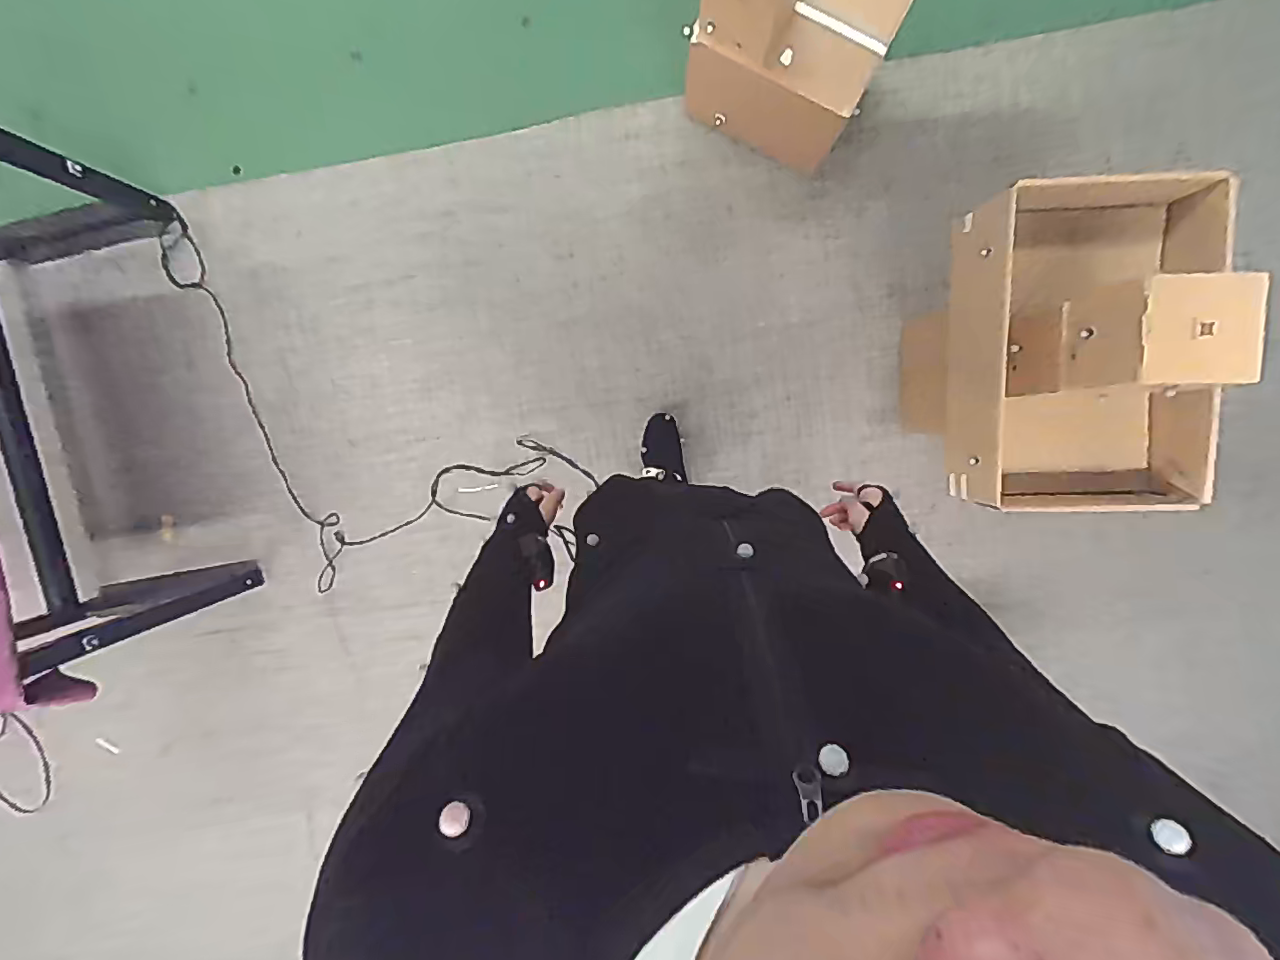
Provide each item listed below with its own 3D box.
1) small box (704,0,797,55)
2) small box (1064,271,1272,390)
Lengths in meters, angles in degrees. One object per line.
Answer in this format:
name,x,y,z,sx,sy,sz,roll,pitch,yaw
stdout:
small box,0.242,-1.028,1.099,0.168,0.176,0.179,30,97,-2
small box,0.858,-0.239,0.895,0.179,0.176,0.168,0,95,3
